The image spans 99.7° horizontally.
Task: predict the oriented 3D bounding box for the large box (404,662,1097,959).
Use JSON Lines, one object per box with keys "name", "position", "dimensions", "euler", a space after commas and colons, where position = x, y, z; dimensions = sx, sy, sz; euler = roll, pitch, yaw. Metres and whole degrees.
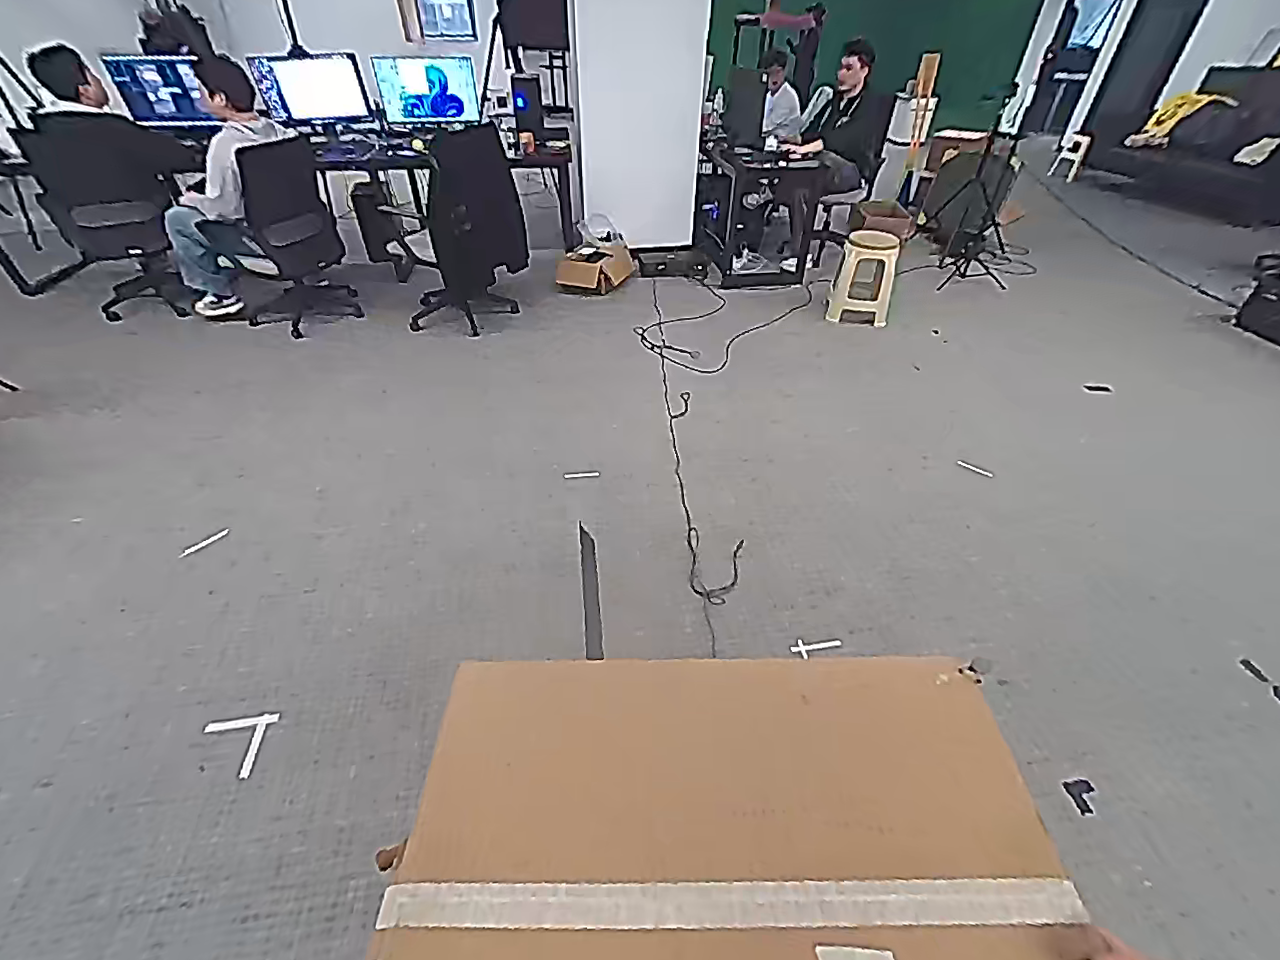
{"name": "large box", "position": [0.063, 0.367, 0.430], "dimensions": [0.408, 0.320, 0.320], "euler": [-1, 44, 1]}
